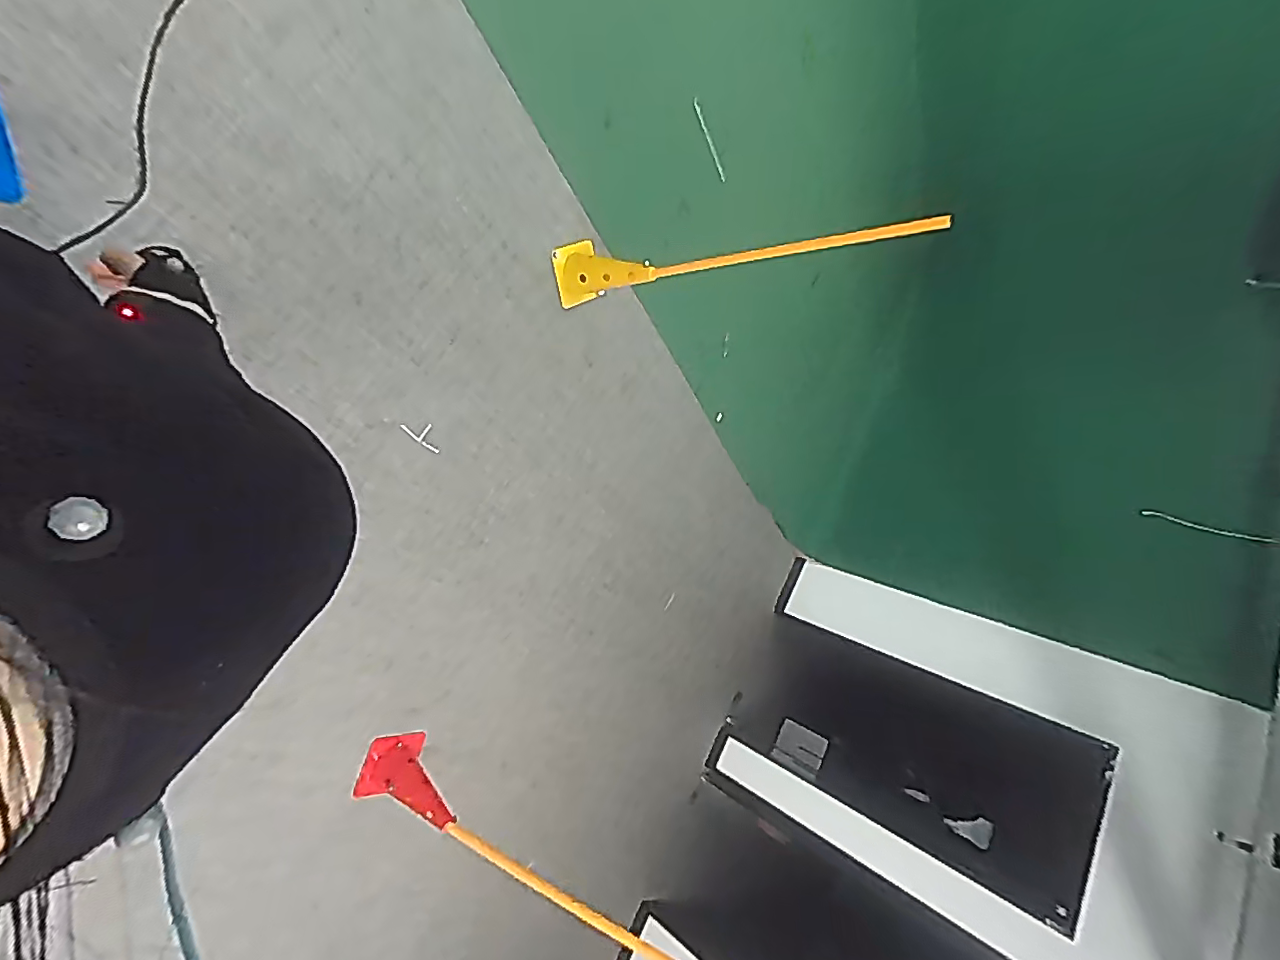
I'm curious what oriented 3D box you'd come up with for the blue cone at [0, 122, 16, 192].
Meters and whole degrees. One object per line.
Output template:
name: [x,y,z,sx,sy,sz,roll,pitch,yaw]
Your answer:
blue cone: [-1.019,-0.518,0.744,0.193,0.380,0.192,-19,119,-44]
